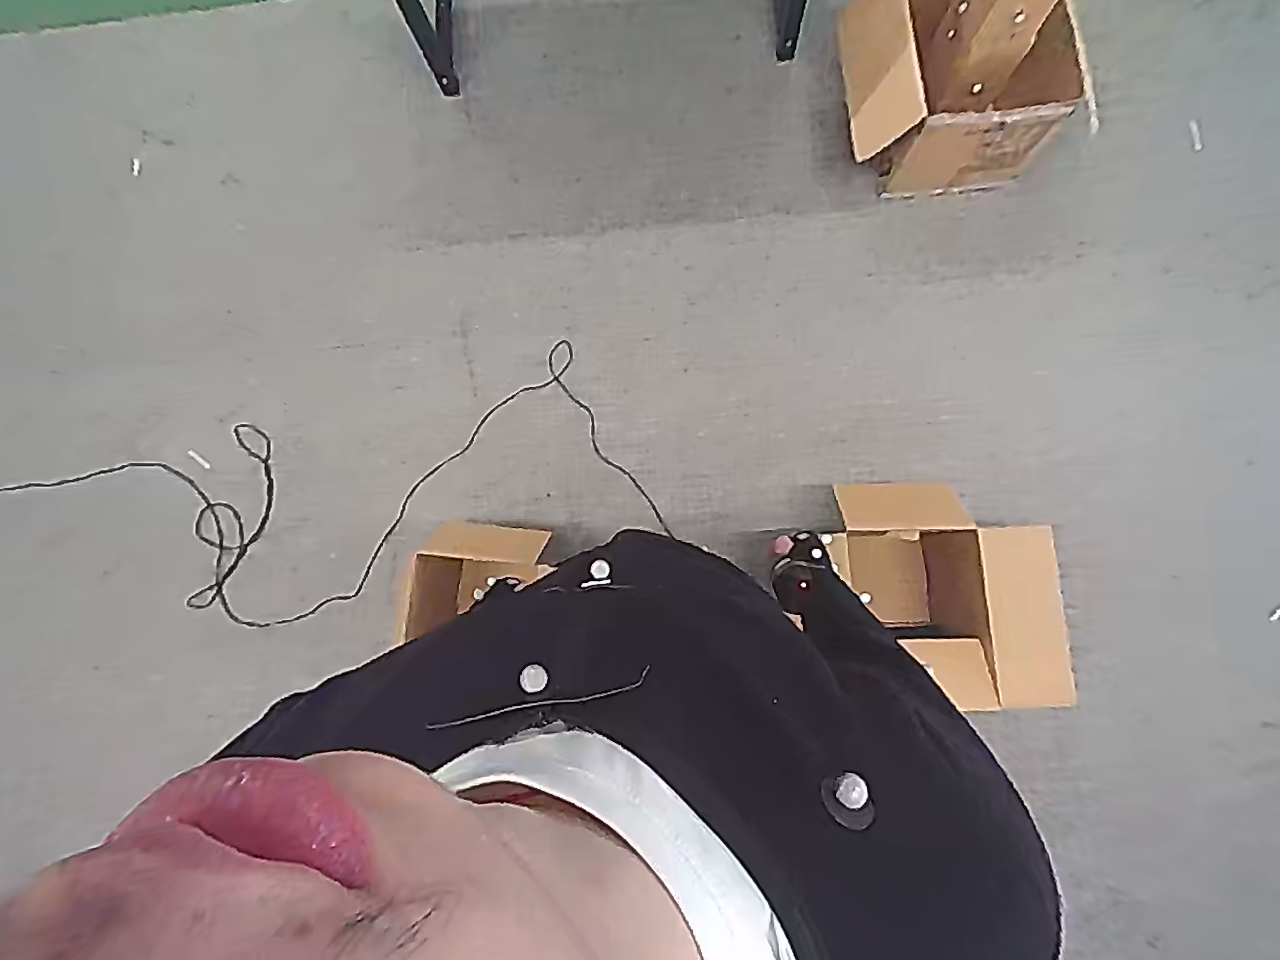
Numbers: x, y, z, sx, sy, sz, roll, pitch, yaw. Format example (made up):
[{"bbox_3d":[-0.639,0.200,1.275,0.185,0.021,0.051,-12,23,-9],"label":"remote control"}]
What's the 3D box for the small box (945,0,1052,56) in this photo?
[{"bbox_3d":[0.881,-1.181,1.317,0.168,0.176,0.179,-11,81,1],"label":"small box"}]
